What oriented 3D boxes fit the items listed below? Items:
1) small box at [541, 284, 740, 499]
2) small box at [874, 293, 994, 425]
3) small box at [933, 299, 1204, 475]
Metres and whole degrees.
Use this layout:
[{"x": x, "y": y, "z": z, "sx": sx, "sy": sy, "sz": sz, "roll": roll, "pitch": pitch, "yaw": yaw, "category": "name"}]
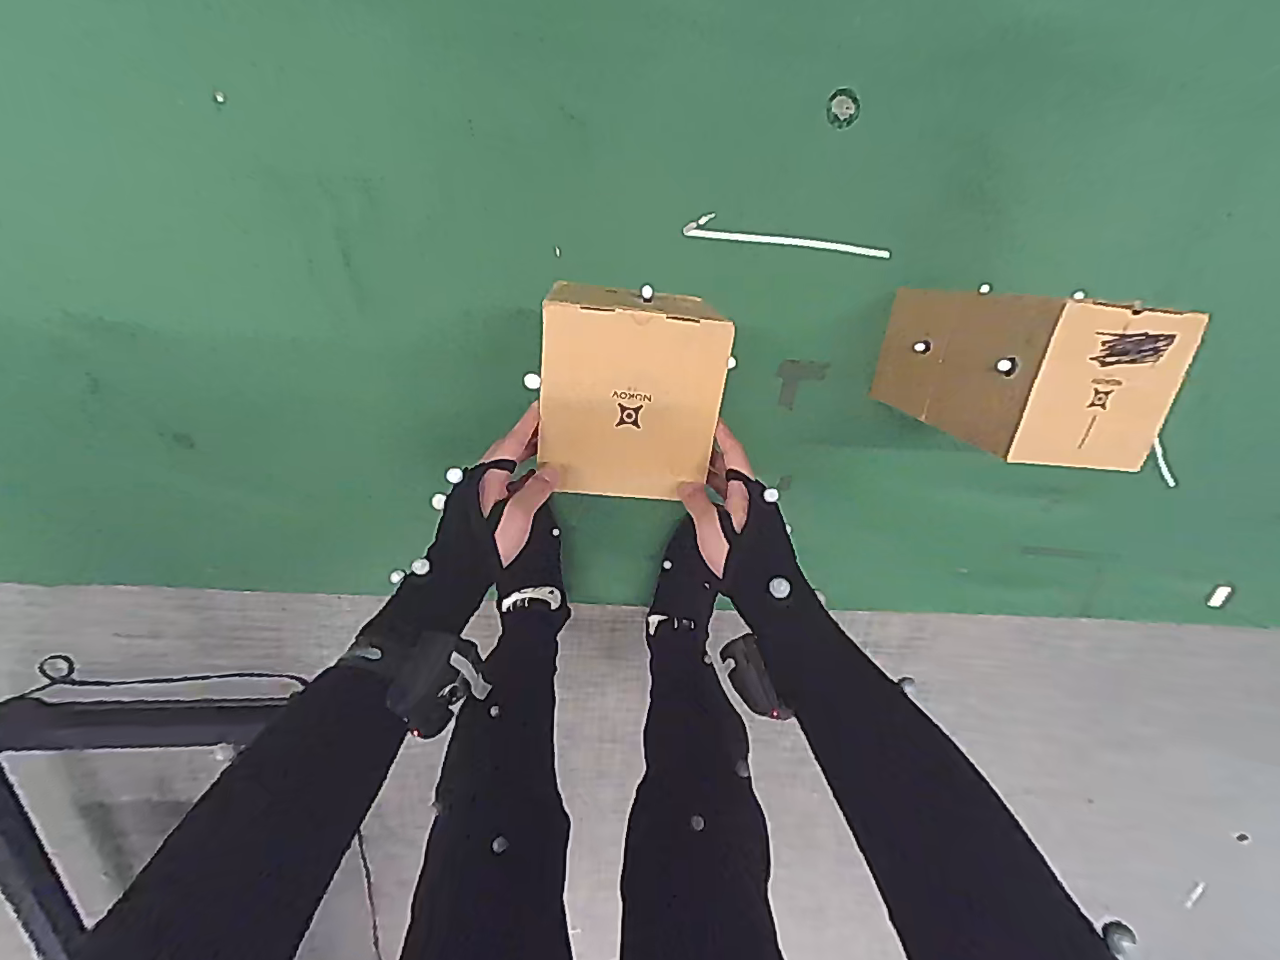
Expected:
[{"x": -0.008, "y": -0.099, "z": 0.568, "sx": 0.168, "sy": 0.176, "sz": 0.179, "roll": 5, "pitch": 113, "yaw": -7, "category": "small box"}, {"x": 0.481, "y": -0.180, "z": 0.812, "sx": 0.168, "sy": 0.176, "sz": 0.179, "roll": 5, "pitch": 111, "yaw": -6, "category": "small box"}, {"x": 0.494, "y": -0.121, "z": 0.659, "sx": 0.168, "sy": 0.176, "sz": 0.179, "roll": 5, "pitch": 111, "yaw": -6, "category": "small box"}]
